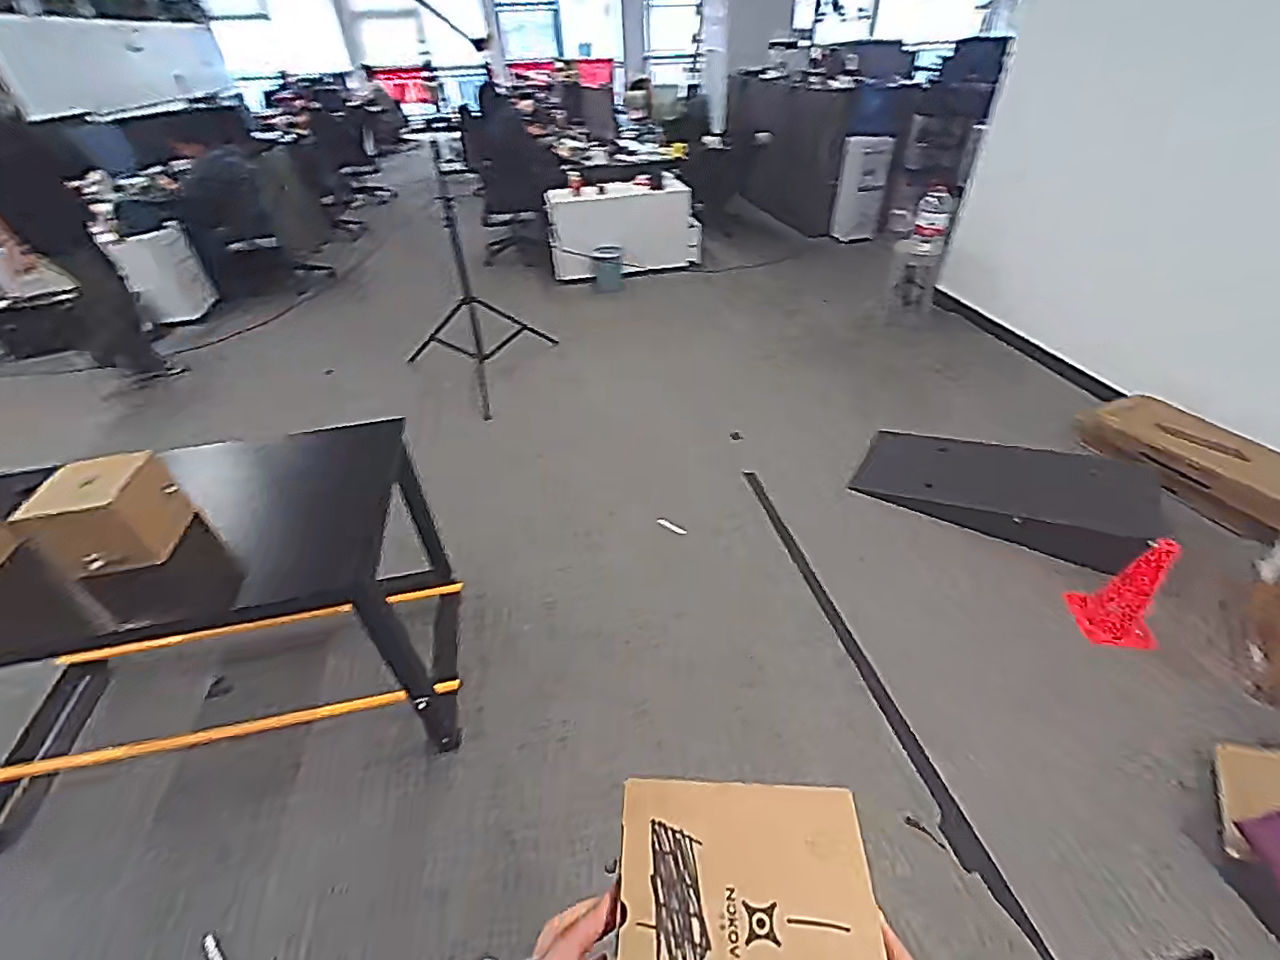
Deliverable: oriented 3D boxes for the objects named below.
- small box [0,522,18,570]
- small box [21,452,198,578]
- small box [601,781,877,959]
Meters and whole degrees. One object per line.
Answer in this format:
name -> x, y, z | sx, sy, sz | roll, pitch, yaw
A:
small box -> -1.376, 0.137, 1.030 | 0.168, 0.176, 0.179 | -9, 40, -7
small box -> -1.052, 0.070, 1.097 | 0.168, 0.176, 0.179 | -11, 41, -8
small box -> 0.063, 0.347, 0.408 | 0.179, 0.176, 0.168 | 2, 44, 0
